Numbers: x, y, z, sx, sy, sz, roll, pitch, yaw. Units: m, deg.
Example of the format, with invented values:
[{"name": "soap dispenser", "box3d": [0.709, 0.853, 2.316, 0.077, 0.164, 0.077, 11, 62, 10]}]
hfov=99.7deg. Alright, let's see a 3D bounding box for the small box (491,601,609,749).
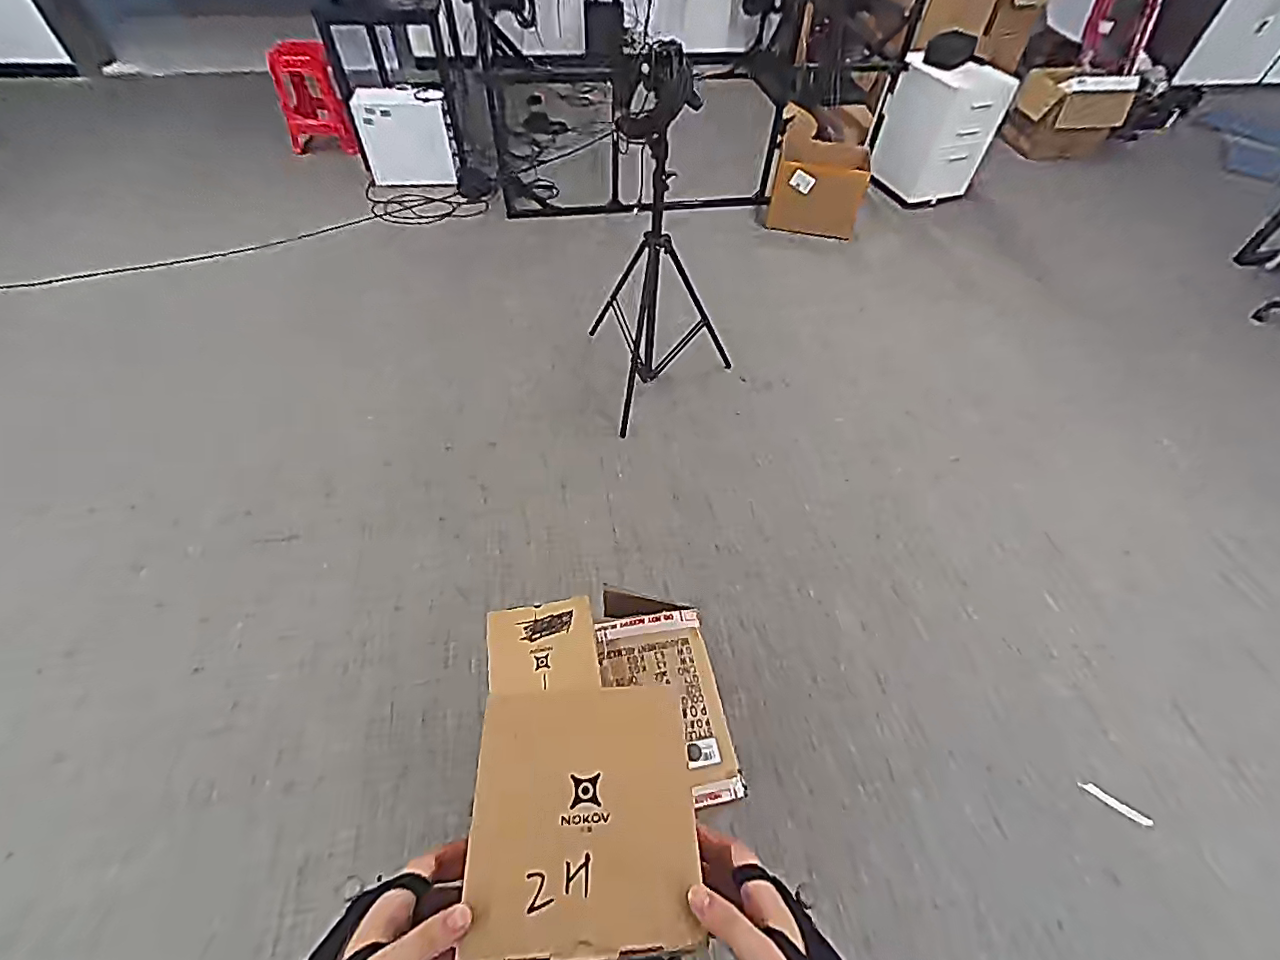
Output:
[{"name": "small box", "box3d": [-0.145, 0.323, 0.889, 0.168, 0.176, 0.179, -9, 56, -6]}]
